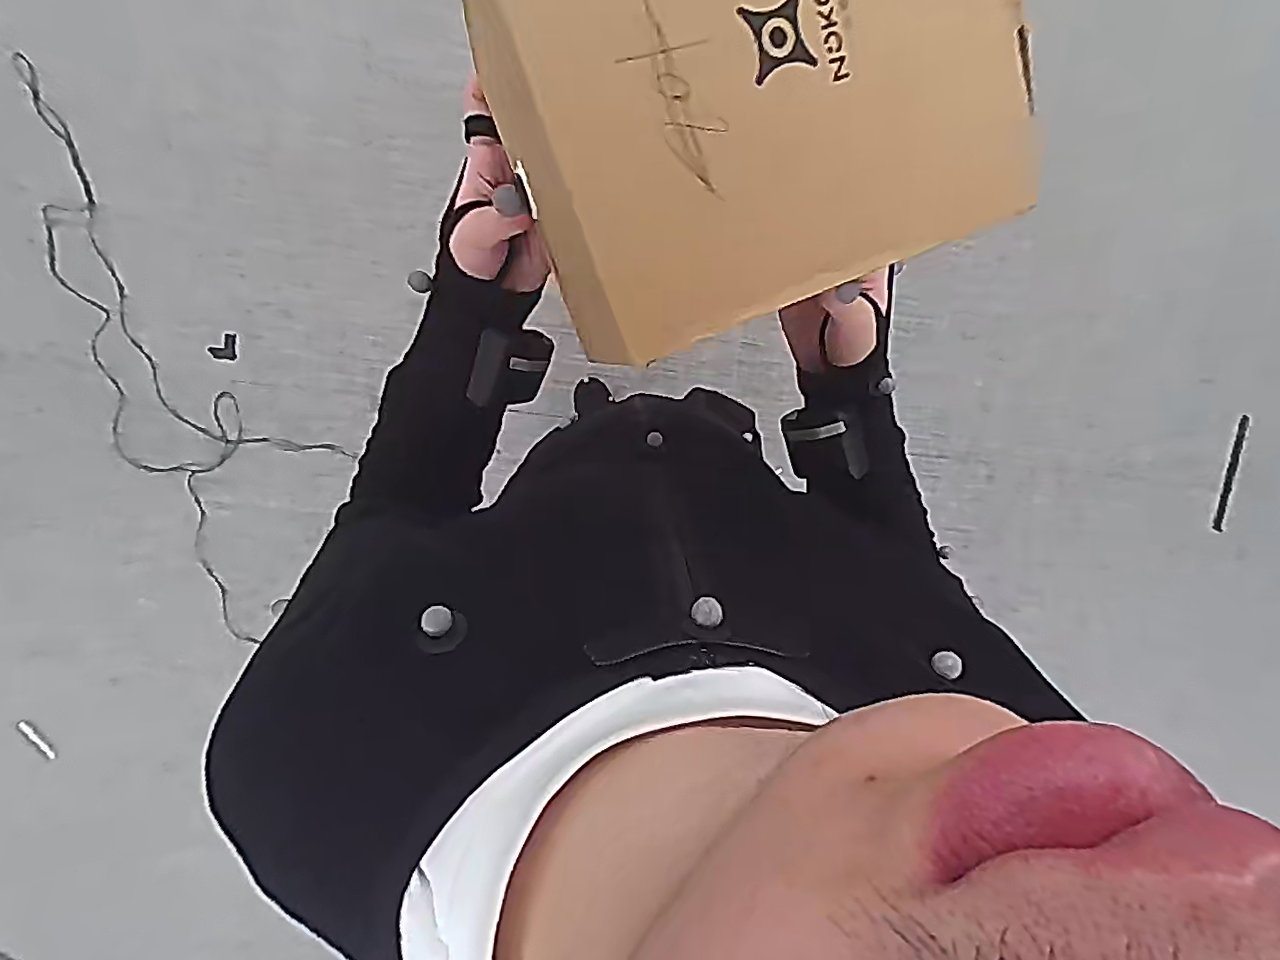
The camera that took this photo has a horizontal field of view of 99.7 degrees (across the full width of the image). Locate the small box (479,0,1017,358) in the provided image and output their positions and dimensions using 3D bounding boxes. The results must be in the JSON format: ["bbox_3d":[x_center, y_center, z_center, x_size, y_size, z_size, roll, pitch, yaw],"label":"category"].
[{"bbox_3d":[0.031,-0.170,0.267,0.179,0.176,0.168,-24,106,-5],"label":"small box"}]
